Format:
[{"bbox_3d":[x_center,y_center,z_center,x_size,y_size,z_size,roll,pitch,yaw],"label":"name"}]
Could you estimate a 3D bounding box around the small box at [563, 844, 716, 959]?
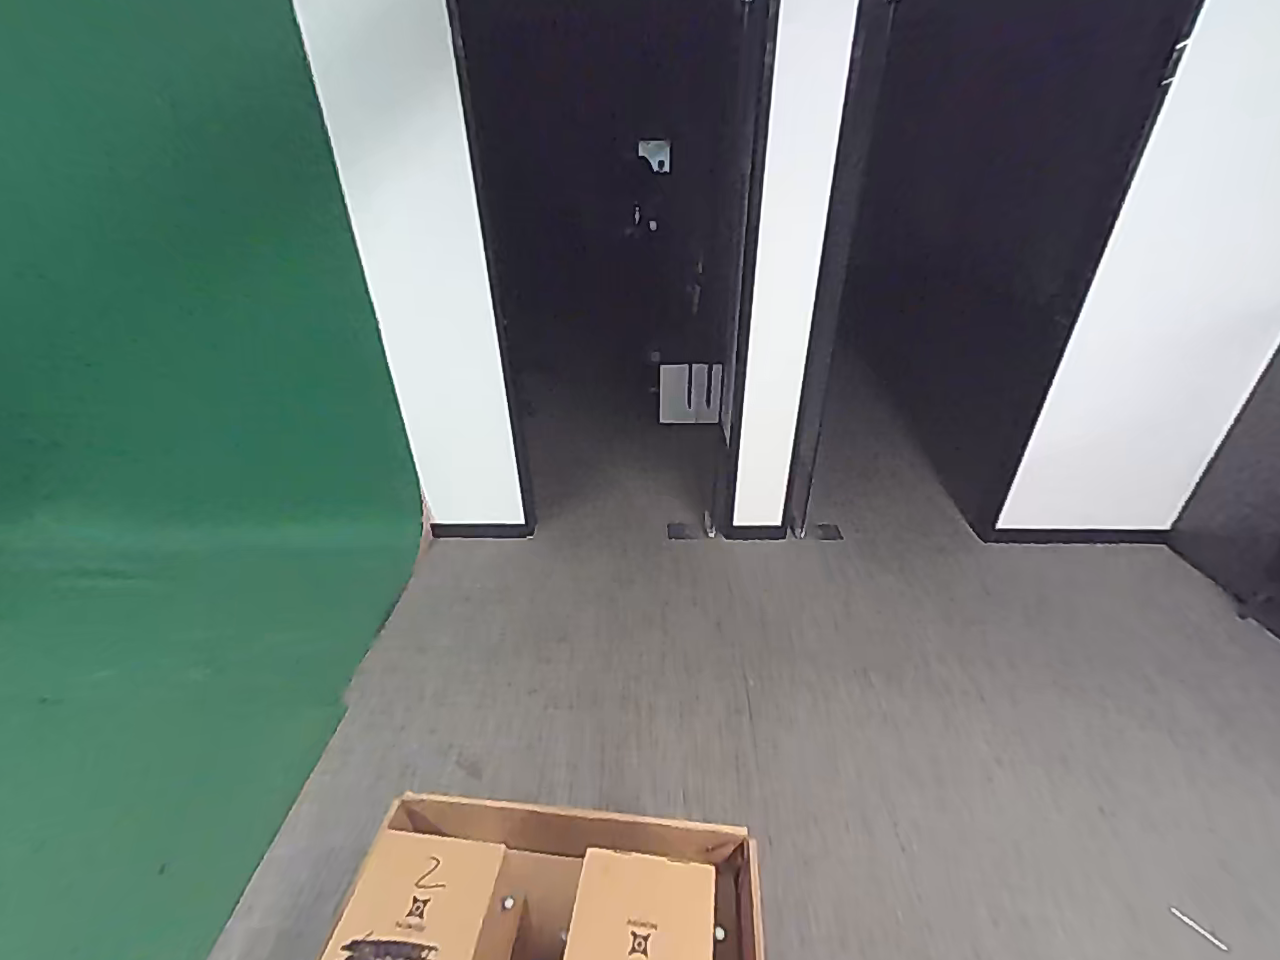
[{"bbox_3d":[0.002,0.586,0.653,0.168,0.176,0.179,3,32,9],"label":"small box"}]
